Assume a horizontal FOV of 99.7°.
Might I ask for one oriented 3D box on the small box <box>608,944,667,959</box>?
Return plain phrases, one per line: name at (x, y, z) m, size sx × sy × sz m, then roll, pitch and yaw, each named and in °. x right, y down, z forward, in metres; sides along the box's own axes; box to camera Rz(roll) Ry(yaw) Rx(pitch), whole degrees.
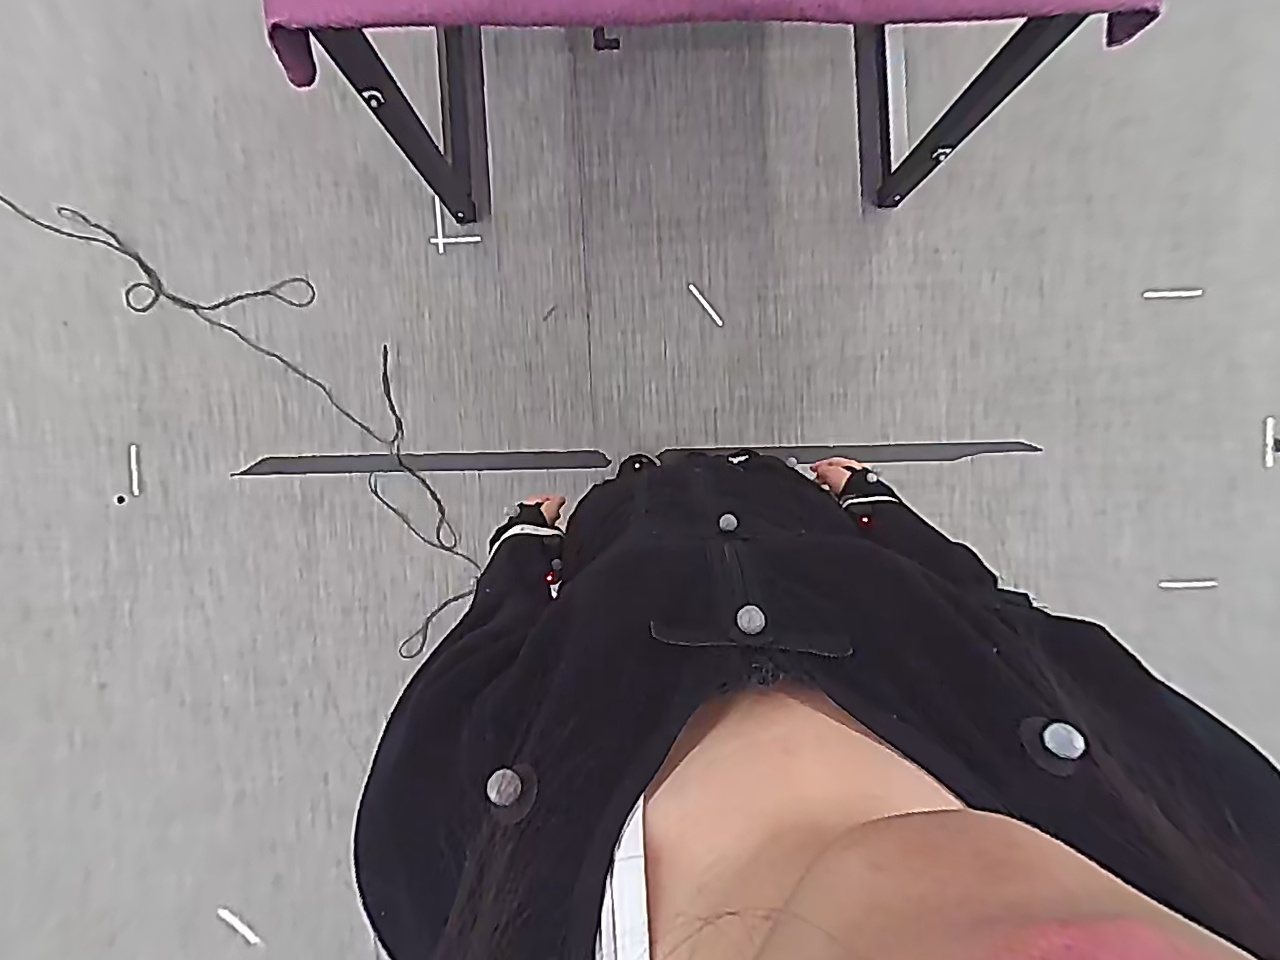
small box at (0.005, 1.395, 1.434) m, size 0.168 × 0.176 × 0.179 m, roll -11°, pitch 92°, yaw -1°
